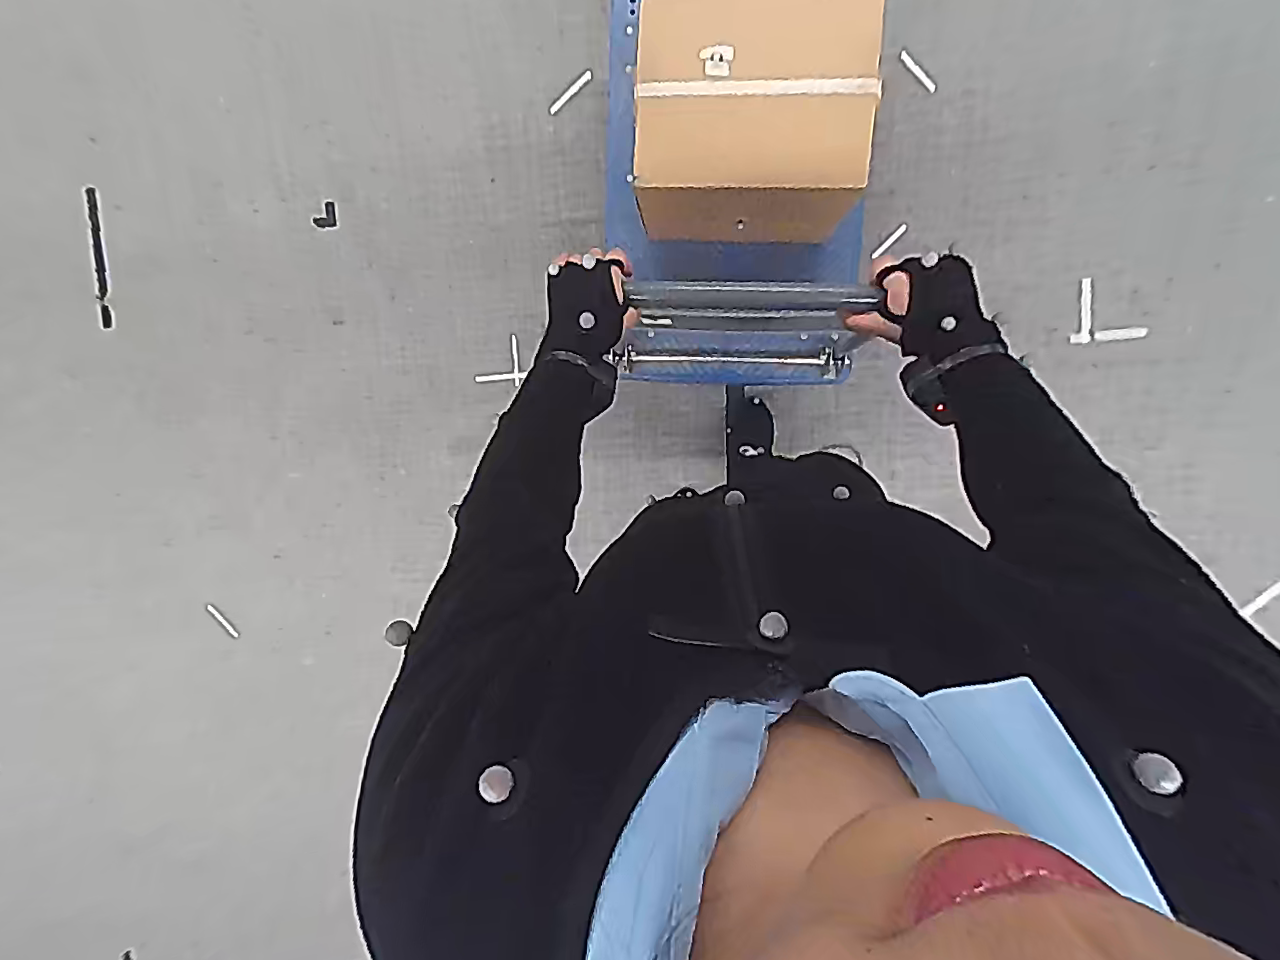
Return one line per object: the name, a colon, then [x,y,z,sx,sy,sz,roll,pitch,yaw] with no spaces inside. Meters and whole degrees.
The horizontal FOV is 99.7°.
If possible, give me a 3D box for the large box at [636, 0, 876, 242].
large box: [0.214,-0.683,1.084,0.408,0.320,0.320,3,96,7]
